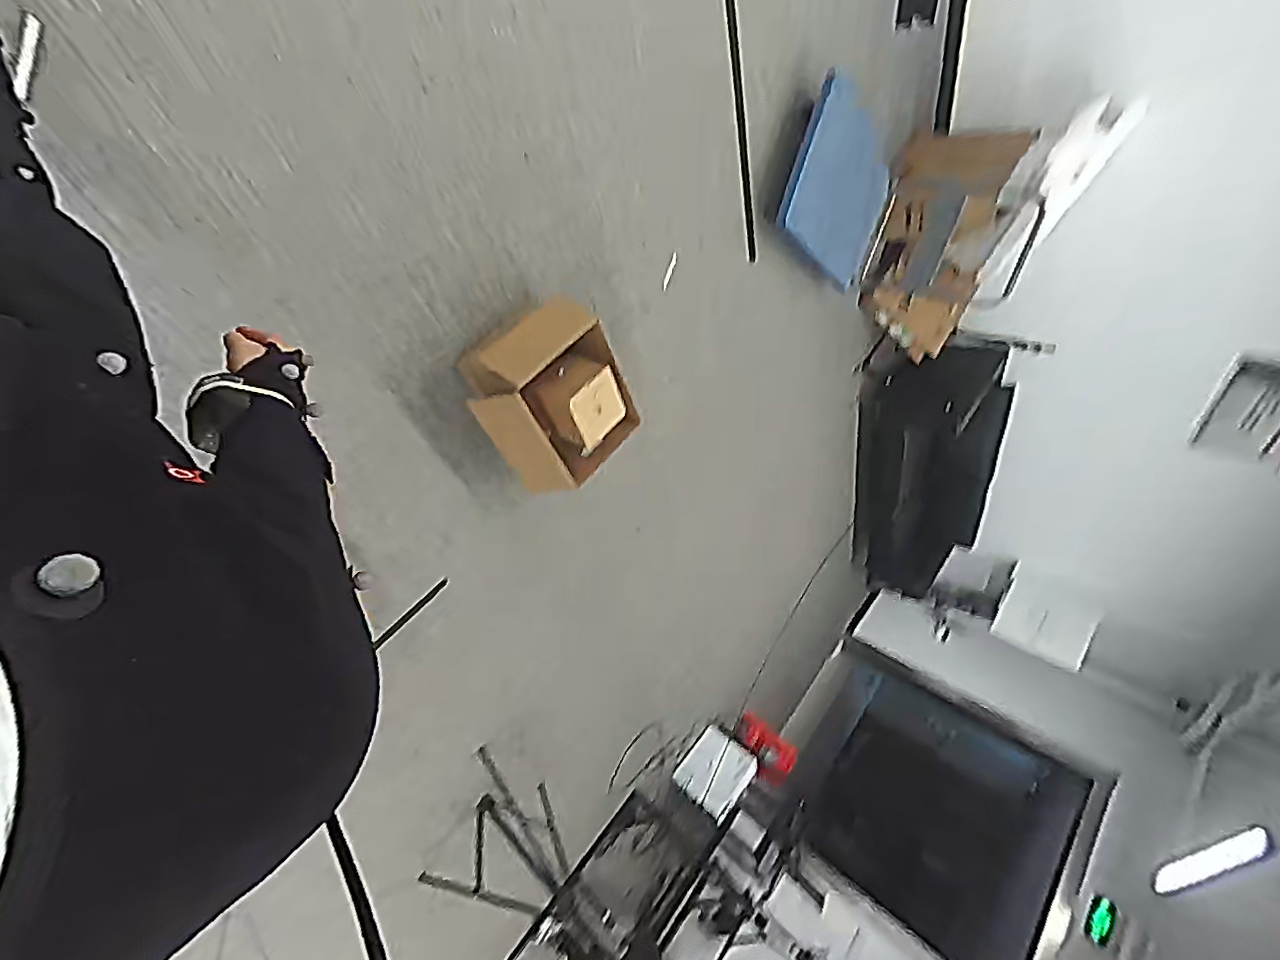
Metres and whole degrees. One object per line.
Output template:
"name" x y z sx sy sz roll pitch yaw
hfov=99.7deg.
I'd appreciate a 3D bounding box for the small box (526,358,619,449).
"small box" -0.191 -0.222 1.543 0.168 0.176 0.179 -46 139 -24
